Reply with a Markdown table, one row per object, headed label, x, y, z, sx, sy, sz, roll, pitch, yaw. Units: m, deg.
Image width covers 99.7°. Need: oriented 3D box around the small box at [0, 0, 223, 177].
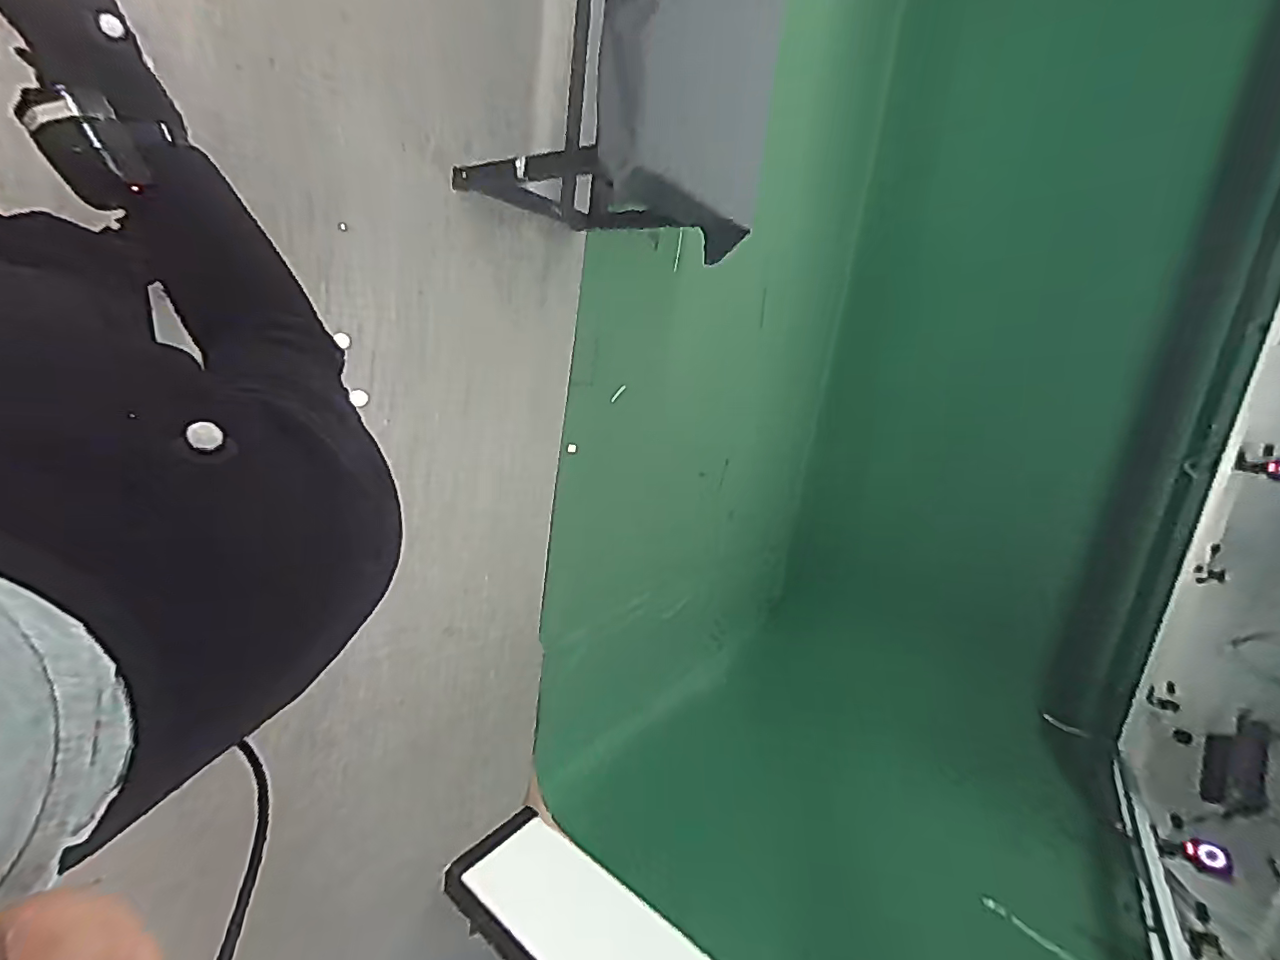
| label | x | y | z | sx | sy | sz | roll | pitch | yaw |
| --- | --- | --- | --- | --- | --- | --- | --- | --- | --- |
| small box | -0.398 | -0.334 | 0.311 | 0.176 | 0.168 | 0.179 | -45 | 166 | 8 |
